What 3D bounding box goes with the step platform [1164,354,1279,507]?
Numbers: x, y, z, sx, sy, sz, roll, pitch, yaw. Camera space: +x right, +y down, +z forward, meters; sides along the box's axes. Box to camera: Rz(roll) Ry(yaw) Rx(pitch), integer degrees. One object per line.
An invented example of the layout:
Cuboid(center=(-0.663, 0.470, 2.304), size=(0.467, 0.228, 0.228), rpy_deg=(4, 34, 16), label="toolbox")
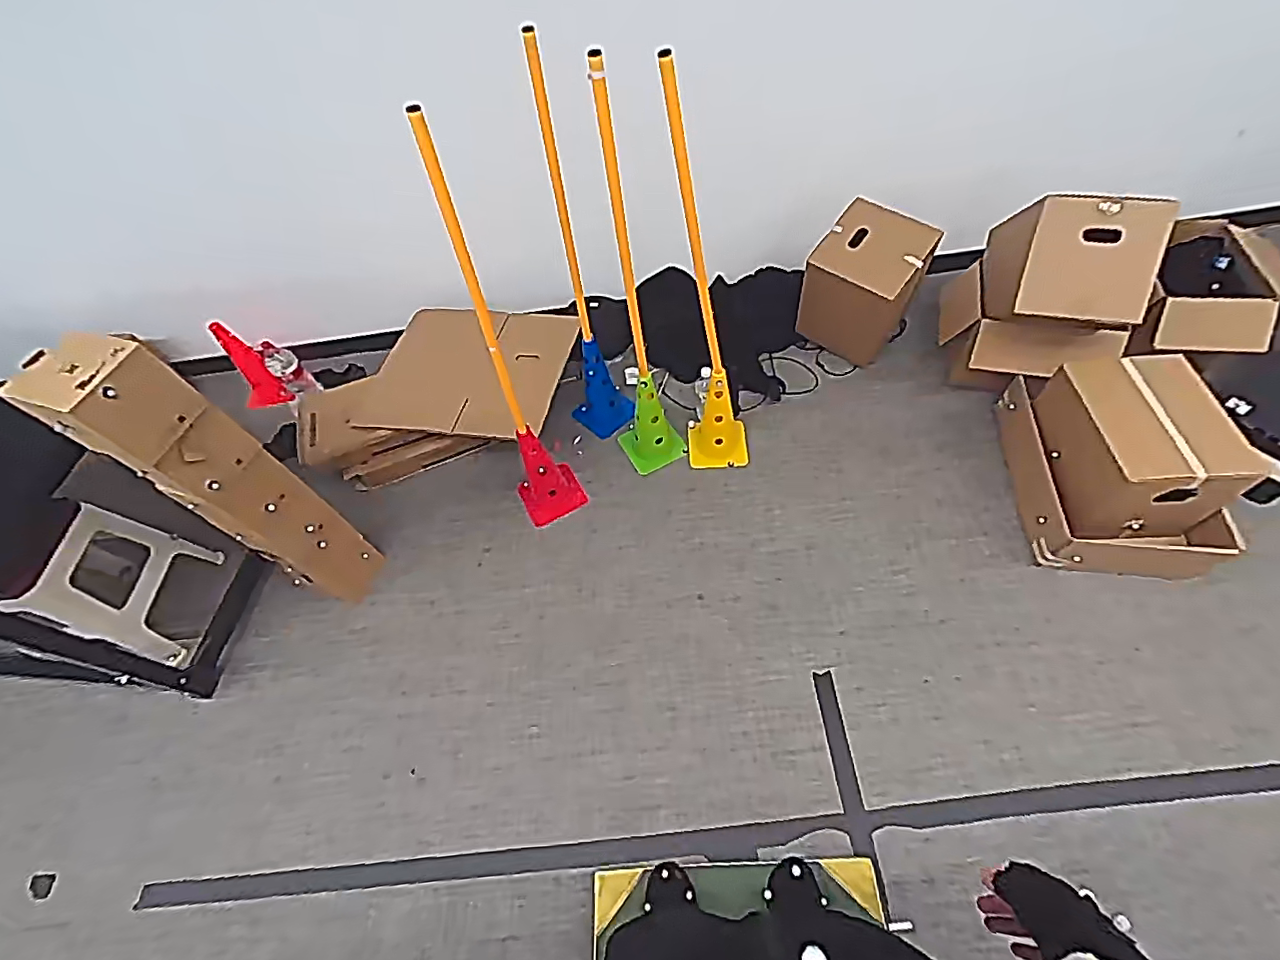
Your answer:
Cuboid(center=(1.992, -0.209, 1.650), size=(0.684, 0.204, 0.286), rpy_deg=(-31, 58, -13), label="step platform")
